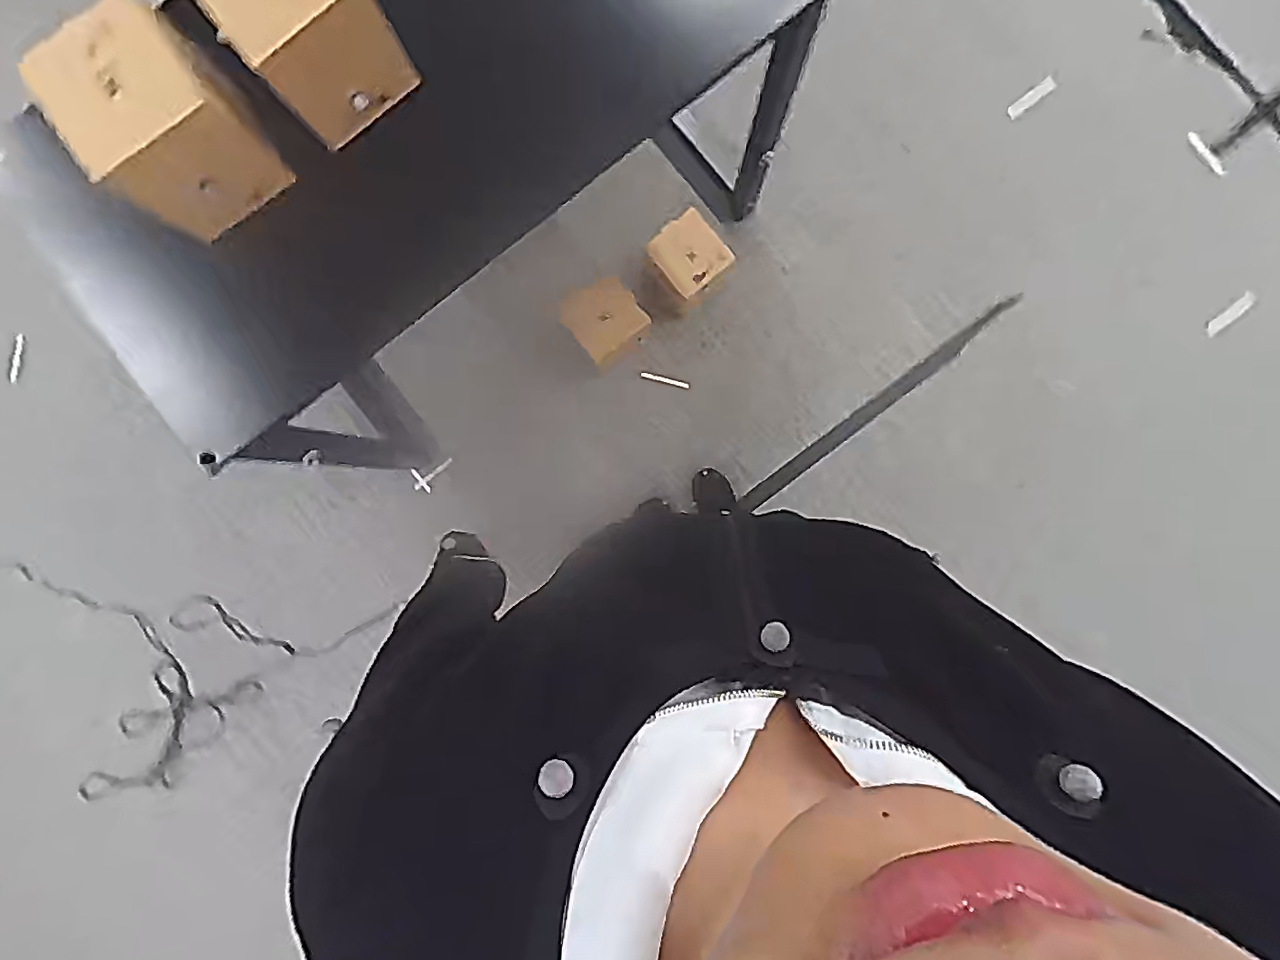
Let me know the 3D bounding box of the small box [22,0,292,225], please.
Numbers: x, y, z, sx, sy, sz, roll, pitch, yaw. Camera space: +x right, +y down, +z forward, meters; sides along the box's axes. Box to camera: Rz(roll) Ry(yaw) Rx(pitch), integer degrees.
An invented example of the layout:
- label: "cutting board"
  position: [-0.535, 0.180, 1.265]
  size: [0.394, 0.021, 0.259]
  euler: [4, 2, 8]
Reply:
- label: "small box"
  position: [-0.617, -0.474, 0.718]
  size: [0.168, 0.176, 0.179]
  euler: [-35, 88, 0]

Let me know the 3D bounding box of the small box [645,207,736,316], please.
- label: "small box"
  position: [0.128, -0.566, 1.428]
  size: [0.168, 0.176, 0.179]
  euler: [-38, 88, 2]

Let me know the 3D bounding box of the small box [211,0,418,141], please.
- label: "small box"
  position: [-0.436, -0.606, 0.715]
  size: [0.168, 0.176, 0.179]
  euler: [-38, 89, 1]

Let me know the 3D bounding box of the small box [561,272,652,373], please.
- label: "small box"
  position: [-0.083, -0.409, 1.435]
  size: [0.179, 0.176, 0.168]
  euler: [-38, 88, 2]
